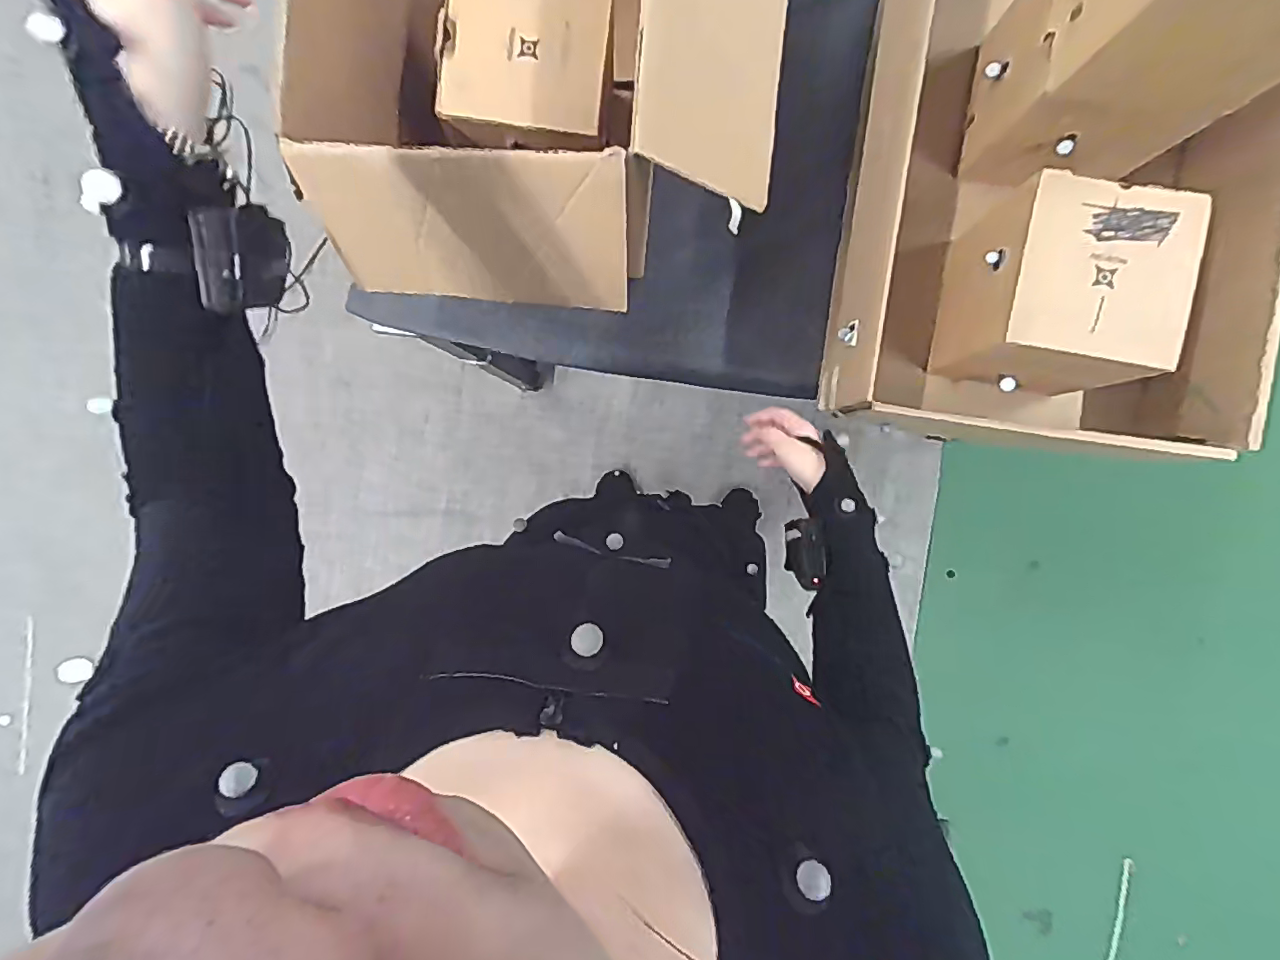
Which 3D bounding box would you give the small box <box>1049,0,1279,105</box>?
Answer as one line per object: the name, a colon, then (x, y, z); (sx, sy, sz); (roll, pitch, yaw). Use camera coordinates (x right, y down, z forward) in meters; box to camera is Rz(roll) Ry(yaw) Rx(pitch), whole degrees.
small box: (0.483, -0.442, 0.439); (0.179, 0.176, 0.168); (7, 94, 2)
